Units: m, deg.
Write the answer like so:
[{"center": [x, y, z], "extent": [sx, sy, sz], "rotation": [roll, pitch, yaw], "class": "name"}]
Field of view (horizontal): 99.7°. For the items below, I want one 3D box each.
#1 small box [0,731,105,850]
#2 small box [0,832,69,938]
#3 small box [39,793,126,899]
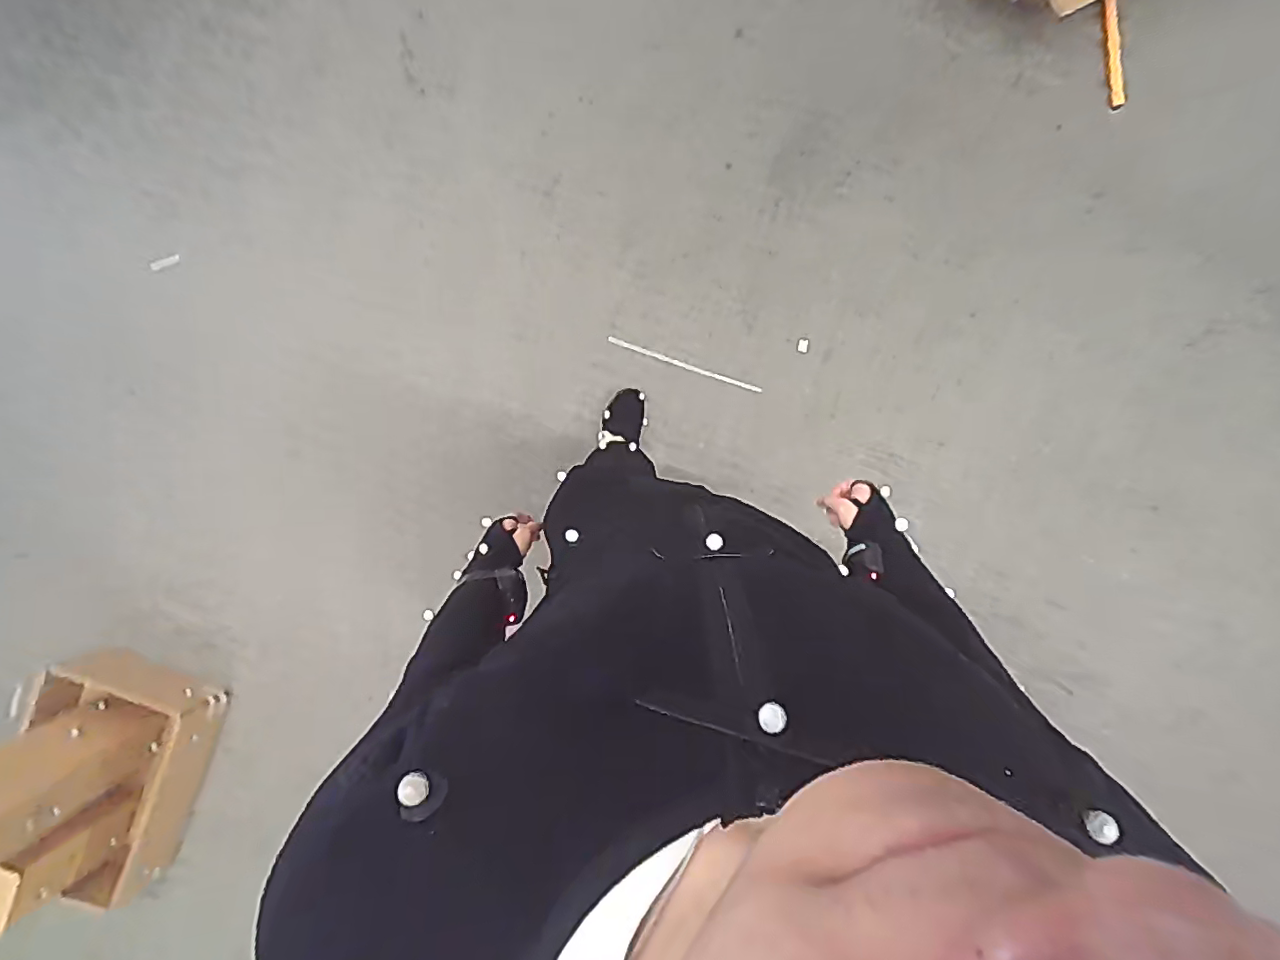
[{"center": [-1.496, 0.751, 1.328], "extent": [0.179, 0.176, 0.168], "rotation": [20, 94, -1], "class": "small box"}, {"center": [-1.591, 0.997, 1.334], "extent": [0.179, 0.176, 0.168], "rotation": [19, 91, -1], "class": "small box"}, {"center": [-1.596, 0.996, 1.496], "extent": [0.179, 0.176, 0.168], "rotation": [21, 91, -2], "class": "small box"}]
